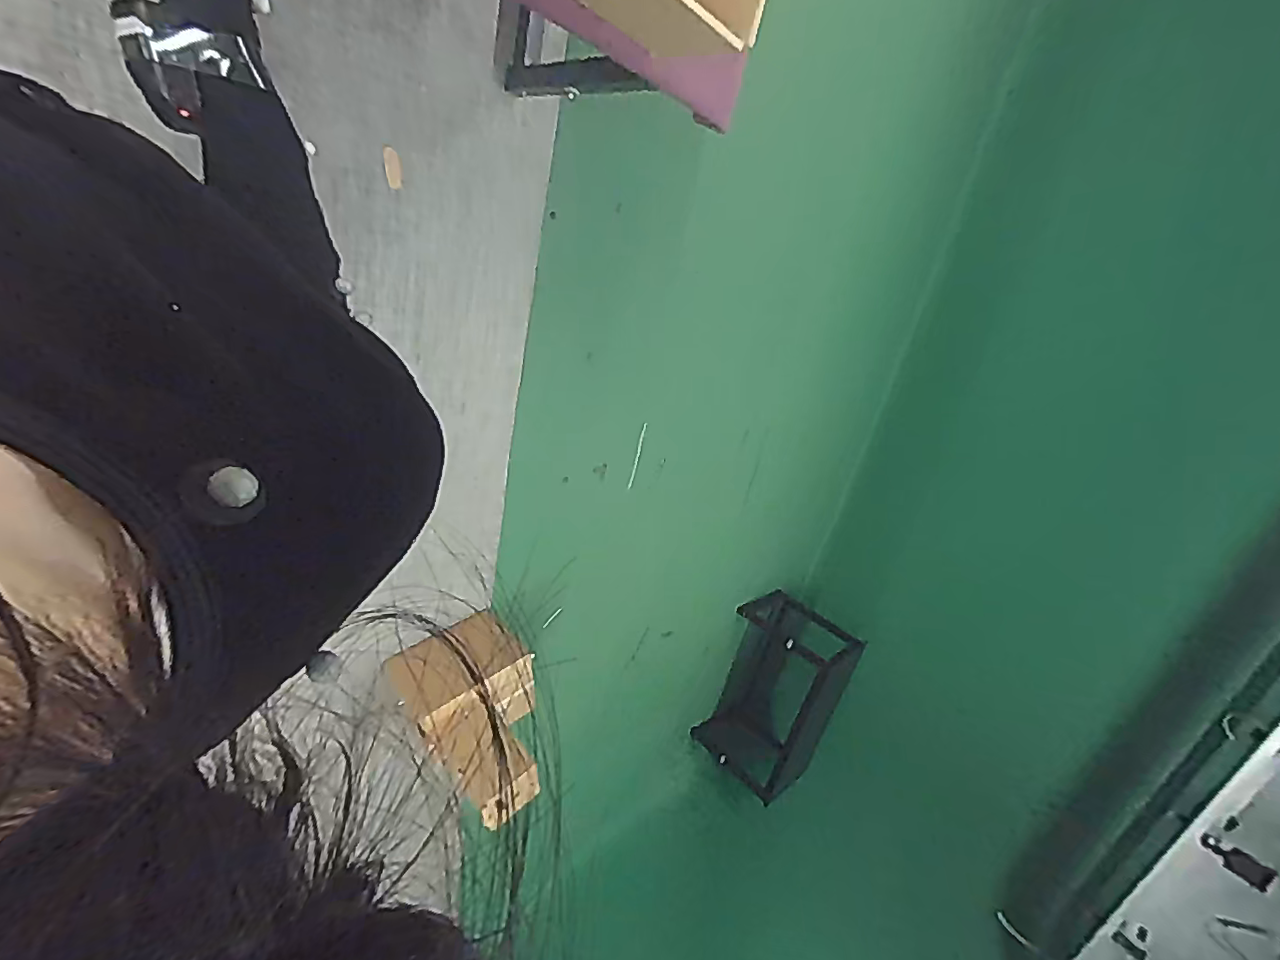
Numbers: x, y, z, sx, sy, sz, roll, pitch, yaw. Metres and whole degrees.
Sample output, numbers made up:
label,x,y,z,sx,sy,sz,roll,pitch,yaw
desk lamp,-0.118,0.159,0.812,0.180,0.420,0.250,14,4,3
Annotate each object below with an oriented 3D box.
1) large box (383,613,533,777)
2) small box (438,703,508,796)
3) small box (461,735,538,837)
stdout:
label,x,y,z,sx,sy,sz,roll,pitch,yaw
large box,-0.660,0.773,1.995,0.408,0.320,0.320,-25,131,-38
small box,-0.553,0.882,1.784,0.179,0.176,0.168,-20,127,-40
small box,-0.440,0.945,1.682,0.179,0.176,0.168,-25,130,-38
